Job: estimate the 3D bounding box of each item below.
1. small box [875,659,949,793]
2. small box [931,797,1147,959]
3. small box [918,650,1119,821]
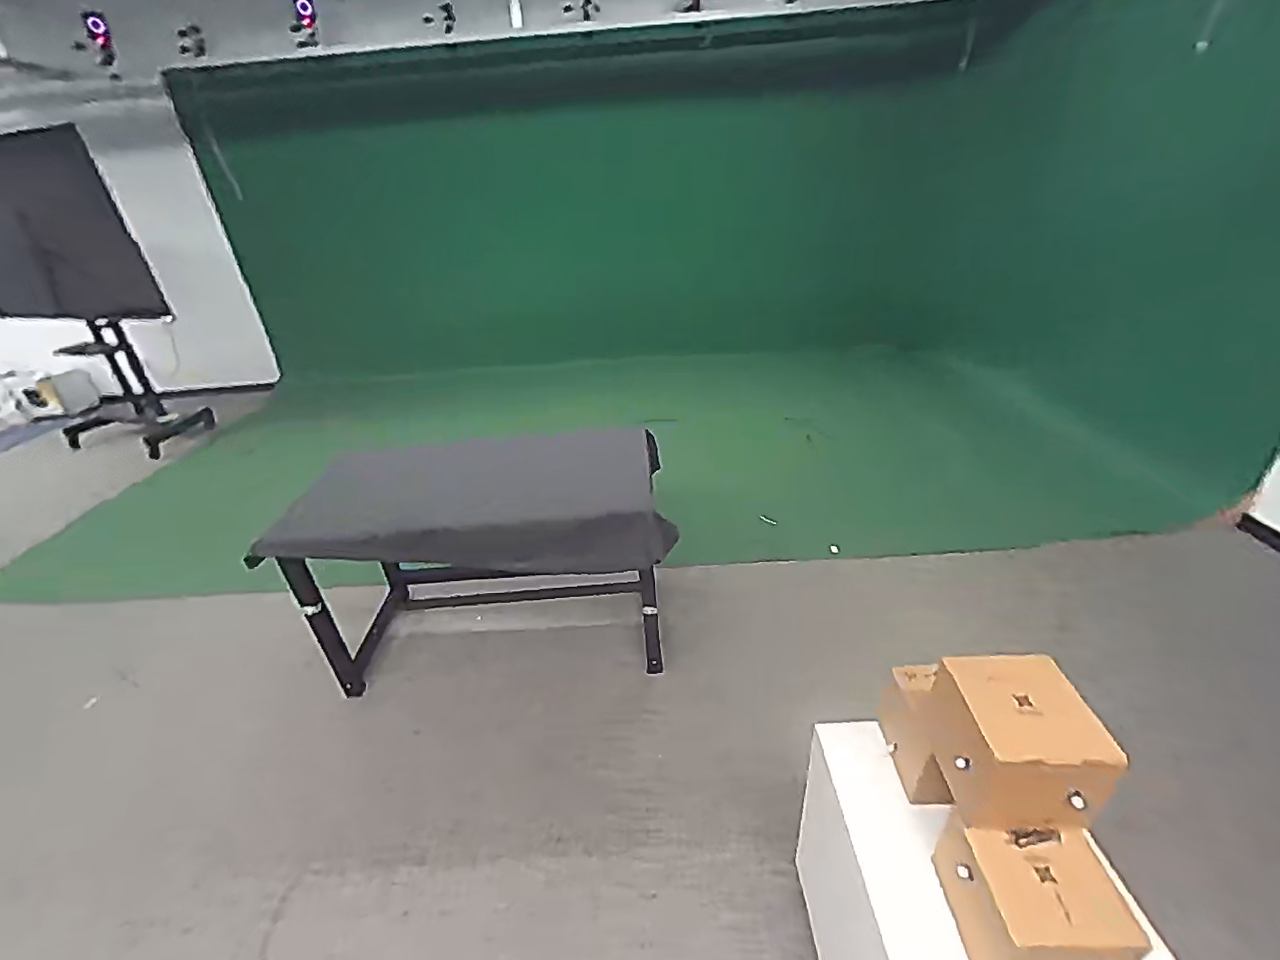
[{"bbox_3d":[0.555,0.455,0.998,0.168,0.176,0.179,-3,33,2],"label":"small box"},{"bbox_3d":[0.545,0.588,0.774,0.168,0.176,0.179,-3,31,4],"label":"small box"},{"bbox_3d":[0.543,0.381,0.807,0.168,0.176,0.179,-2,30,3],"label":"small box"}]
